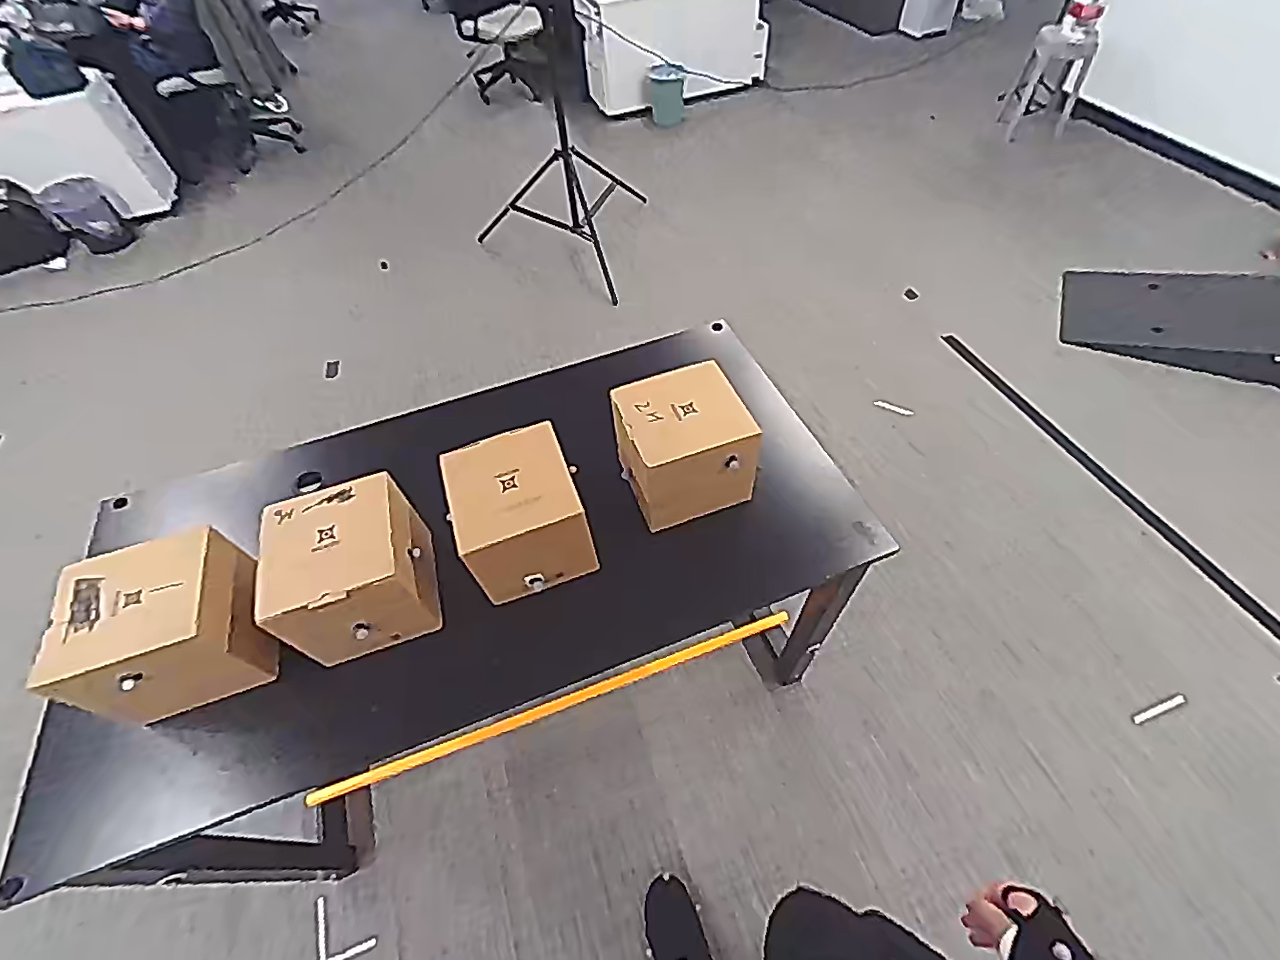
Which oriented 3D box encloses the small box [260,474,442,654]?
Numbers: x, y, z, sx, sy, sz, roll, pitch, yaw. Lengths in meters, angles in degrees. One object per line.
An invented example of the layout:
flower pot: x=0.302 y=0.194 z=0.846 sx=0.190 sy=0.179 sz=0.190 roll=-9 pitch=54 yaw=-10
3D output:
small box: x=-0.392 y=0.126 z=0.758 sx=0.168 sy=0.176 sz=0.179 roll=-18 pitch=55 yaw=-8

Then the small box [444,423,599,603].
small box: x=-0.170 y=0.052 z=0.799 sx=0.168 sy=0.176 sz=0.179 roll=-20 pitch=56 yaw=-9

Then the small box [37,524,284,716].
small box: x=-0.612 y=0.192 z=0.723 sx=0.179 sy=0.176 sz=0.168 roll=-18 pitch=55 yaw=-10

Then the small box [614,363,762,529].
small box: x=0.069 y=-0.050 z=0.852 sx=0.179 sy=0.176 sz=0.168 roll=-18 pitch=55 yaw=-8
